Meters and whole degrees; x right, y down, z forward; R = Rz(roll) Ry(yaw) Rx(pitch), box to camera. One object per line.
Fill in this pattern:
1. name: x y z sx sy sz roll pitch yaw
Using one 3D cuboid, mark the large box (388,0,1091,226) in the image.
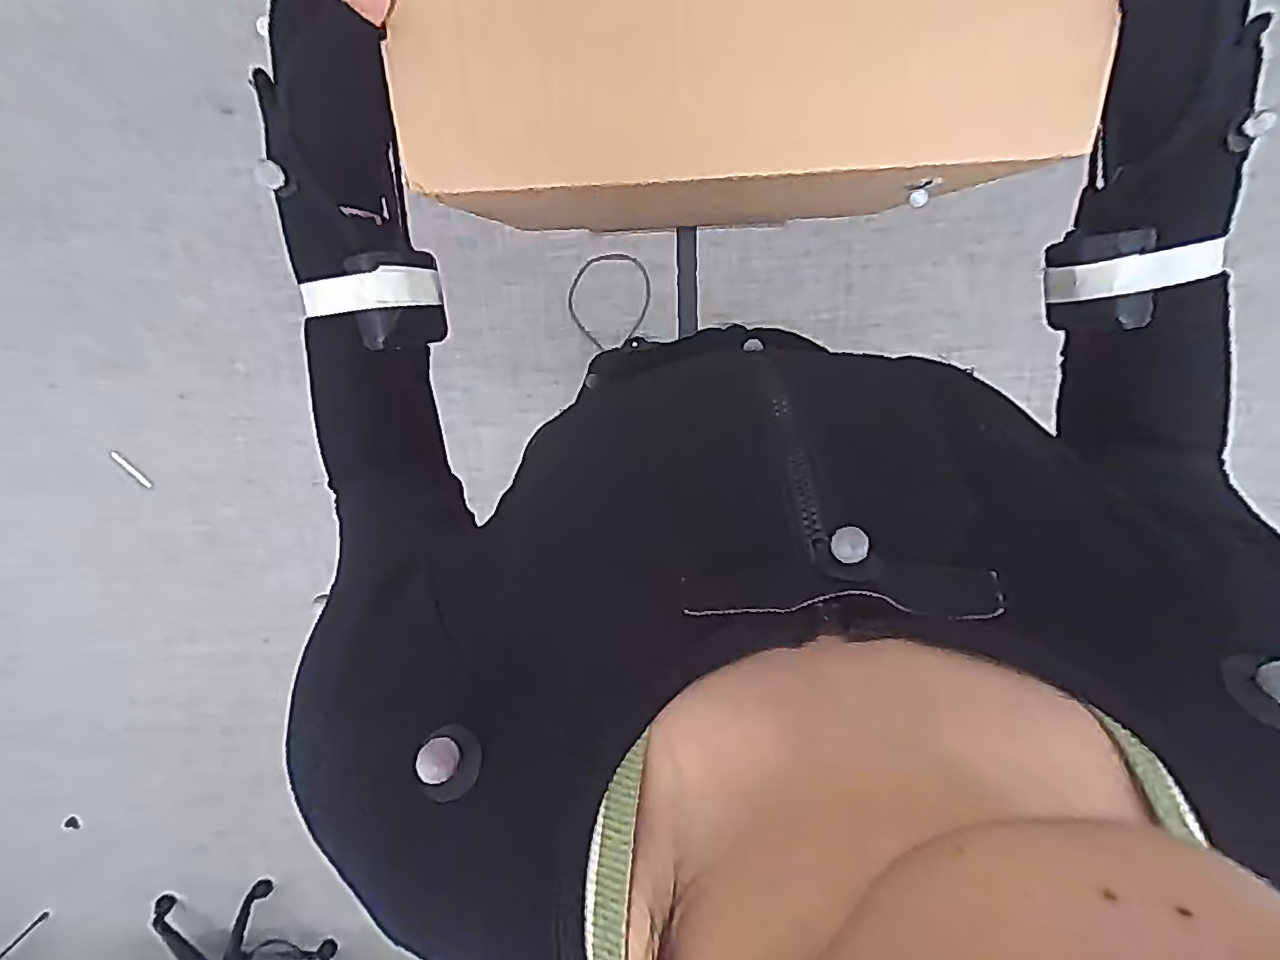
1. large box: 0.055 -0.386 0.420 0.408 0.320 0.320 -2 111 2
